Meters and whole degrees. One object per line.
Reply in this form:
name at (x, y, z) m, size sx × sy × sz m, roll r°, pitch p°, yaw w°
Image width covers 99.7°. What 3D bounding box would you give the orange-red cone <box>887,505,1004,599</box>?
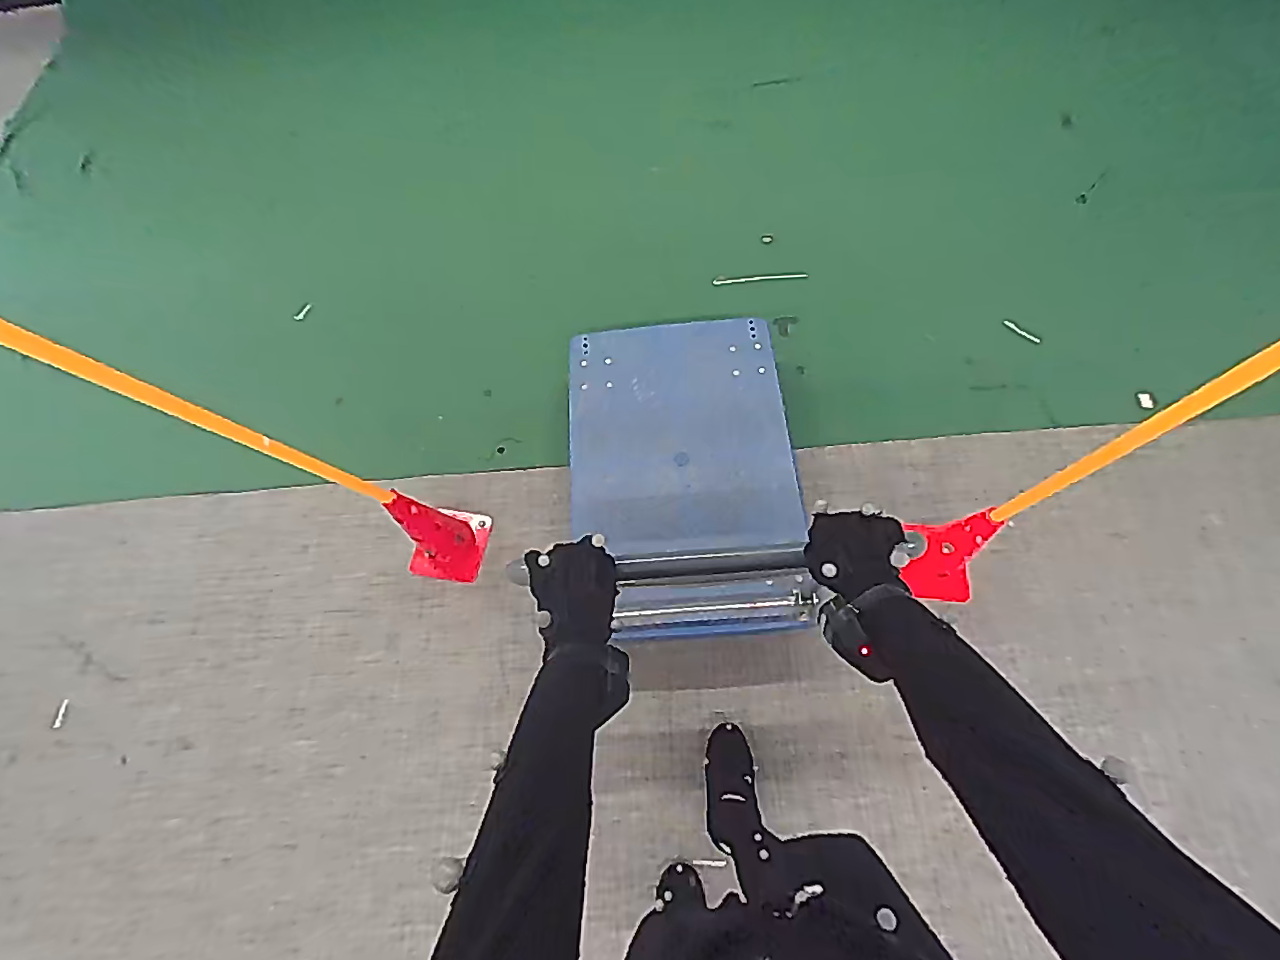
orange-red cone at (0.732, 0.136, 1.249) m, size 0.198 × 0.360 × 0.199 m, roll 6°, pitch 68°, yaw 8°
